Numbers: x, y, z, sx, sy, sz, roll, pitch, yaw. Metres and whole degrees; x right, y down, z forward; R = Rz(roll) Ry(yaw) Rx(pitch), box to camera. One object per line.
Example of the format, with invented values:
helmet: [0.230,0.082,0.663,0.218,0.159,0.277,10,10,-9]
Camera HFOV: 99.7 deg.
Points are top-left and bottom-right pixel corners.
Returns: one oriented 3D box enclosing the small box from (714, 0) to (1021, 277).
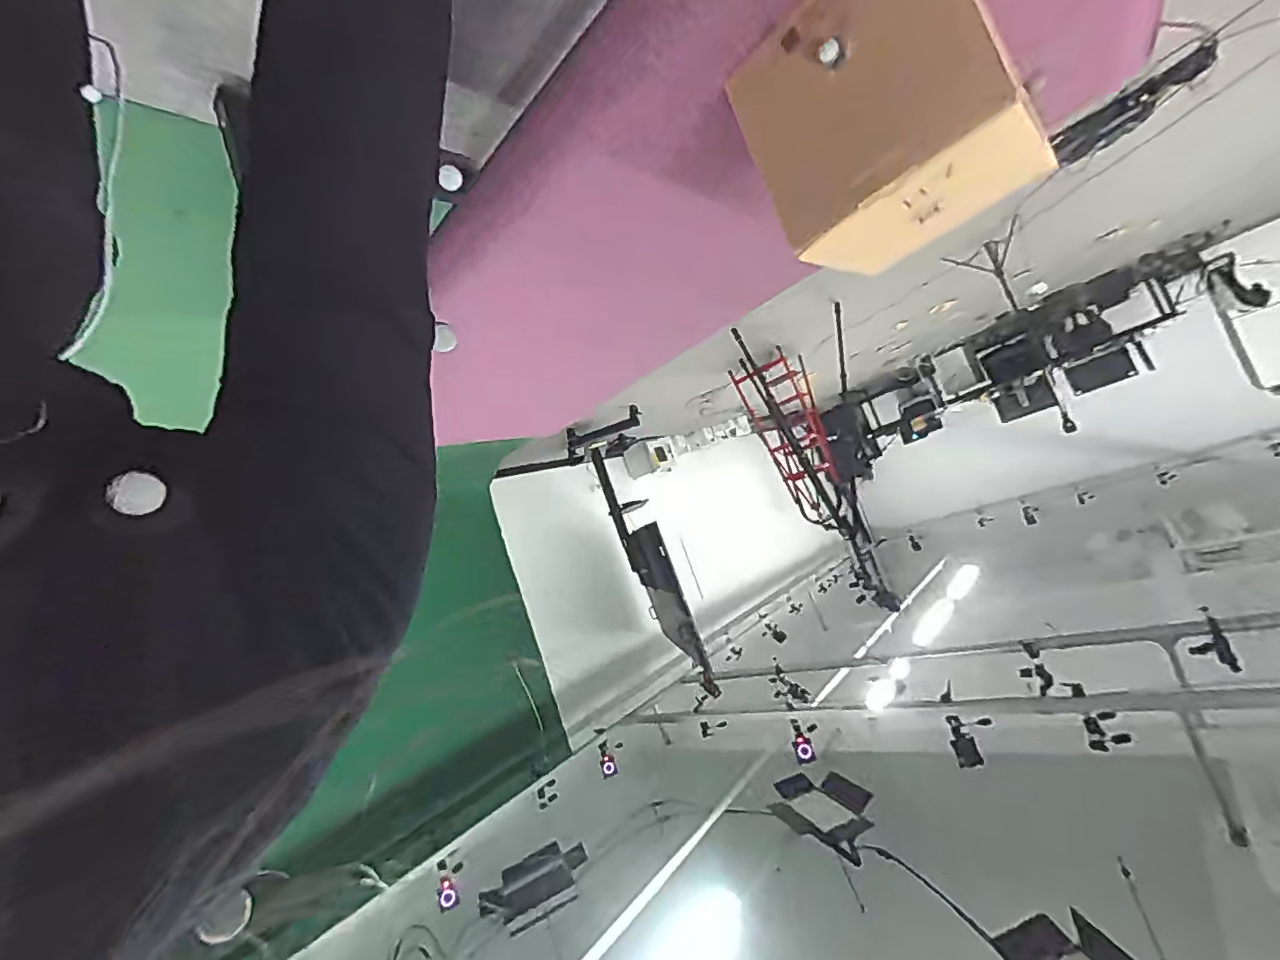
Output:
small box: [0.196,-0.302,0.469,0.179,0.176,0.168,-15,173,-46]
